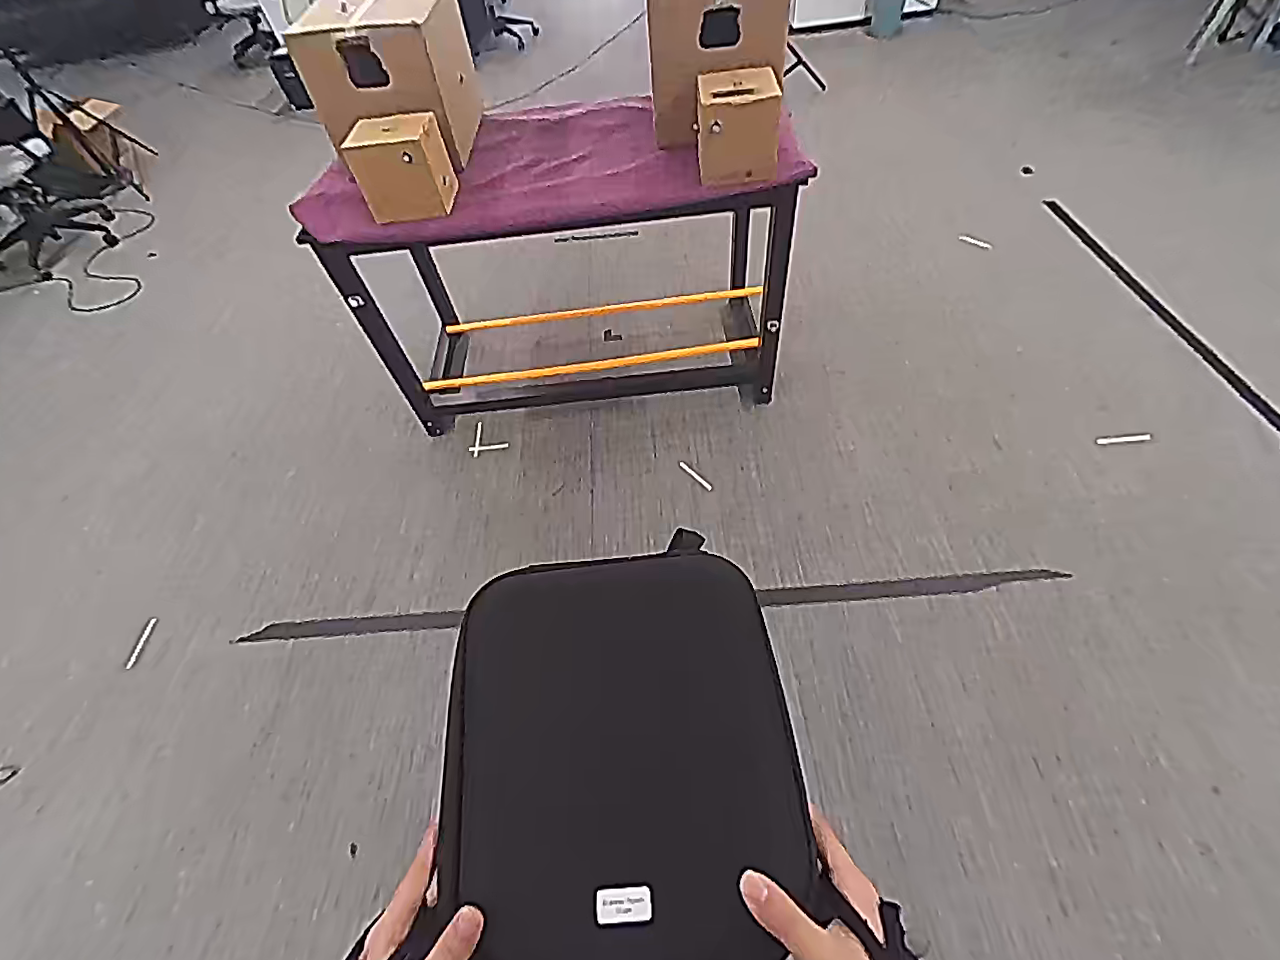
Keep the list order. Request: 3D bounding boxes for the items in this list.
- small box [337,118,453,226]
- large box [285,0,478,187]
[{"bbox_3d":[-0.562,-0.714,1.264,0.179,0.176,0.168,-6,52,1],"label":"small box"},{"bbox_3d":[-0.635,-1.027,1.416,0.320,0.320,0.408,-5,56,2],"label":"large box"}]
